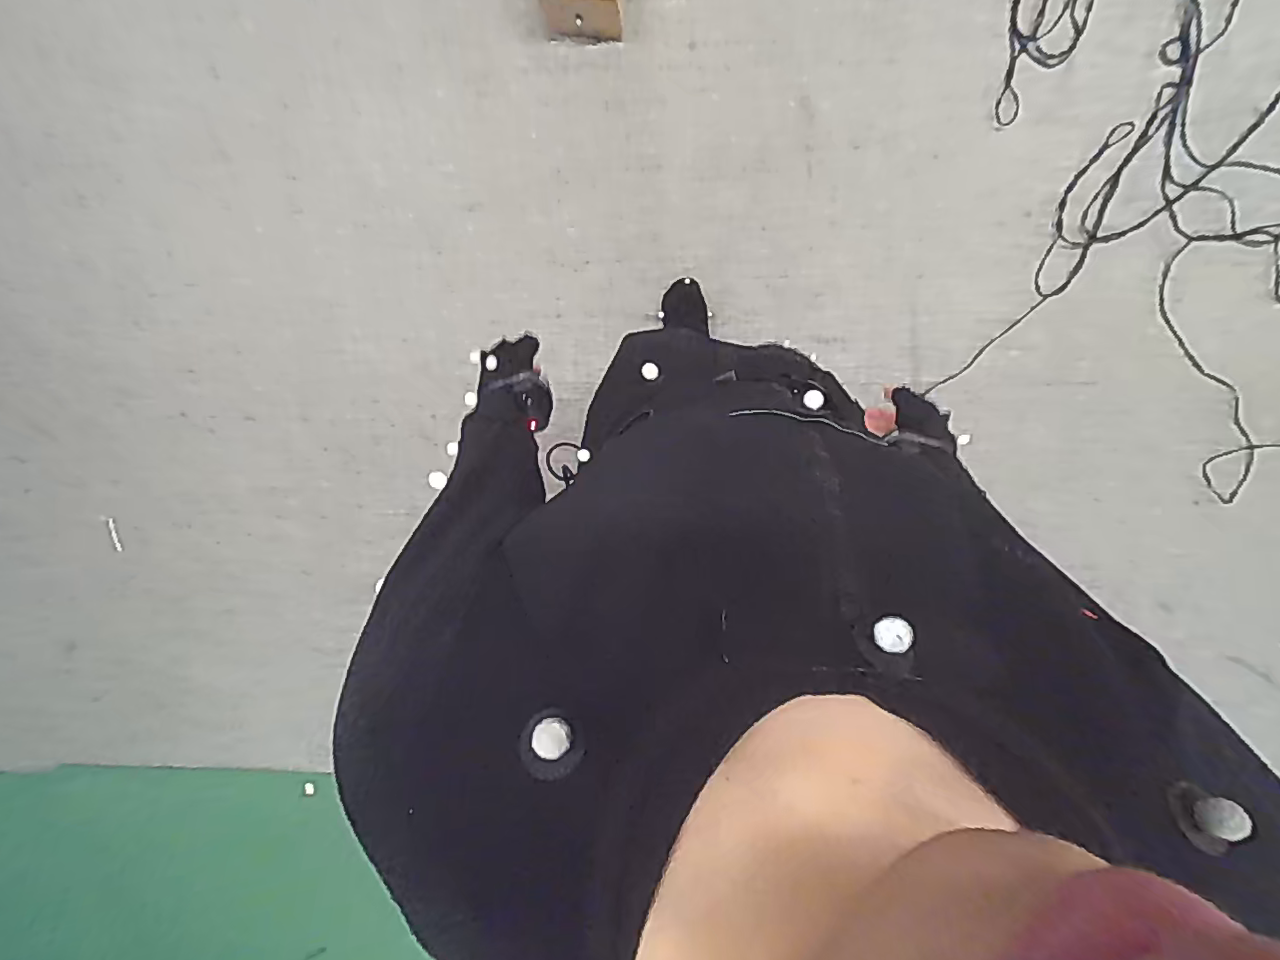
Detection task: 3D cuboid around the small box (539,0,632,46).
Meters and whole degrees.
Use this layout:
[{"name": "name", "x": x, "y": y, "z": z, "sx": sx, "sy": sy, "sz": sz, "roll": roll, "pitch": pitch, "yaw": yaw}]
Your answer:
[{"name": "small box", "x": -0.103, "y": -1.024, "z": 1.099, "sx": 0.168, "sy": 0.176, "sz": 0.179, "roll": 6, "pitch": 107, "yaw": 1}]
